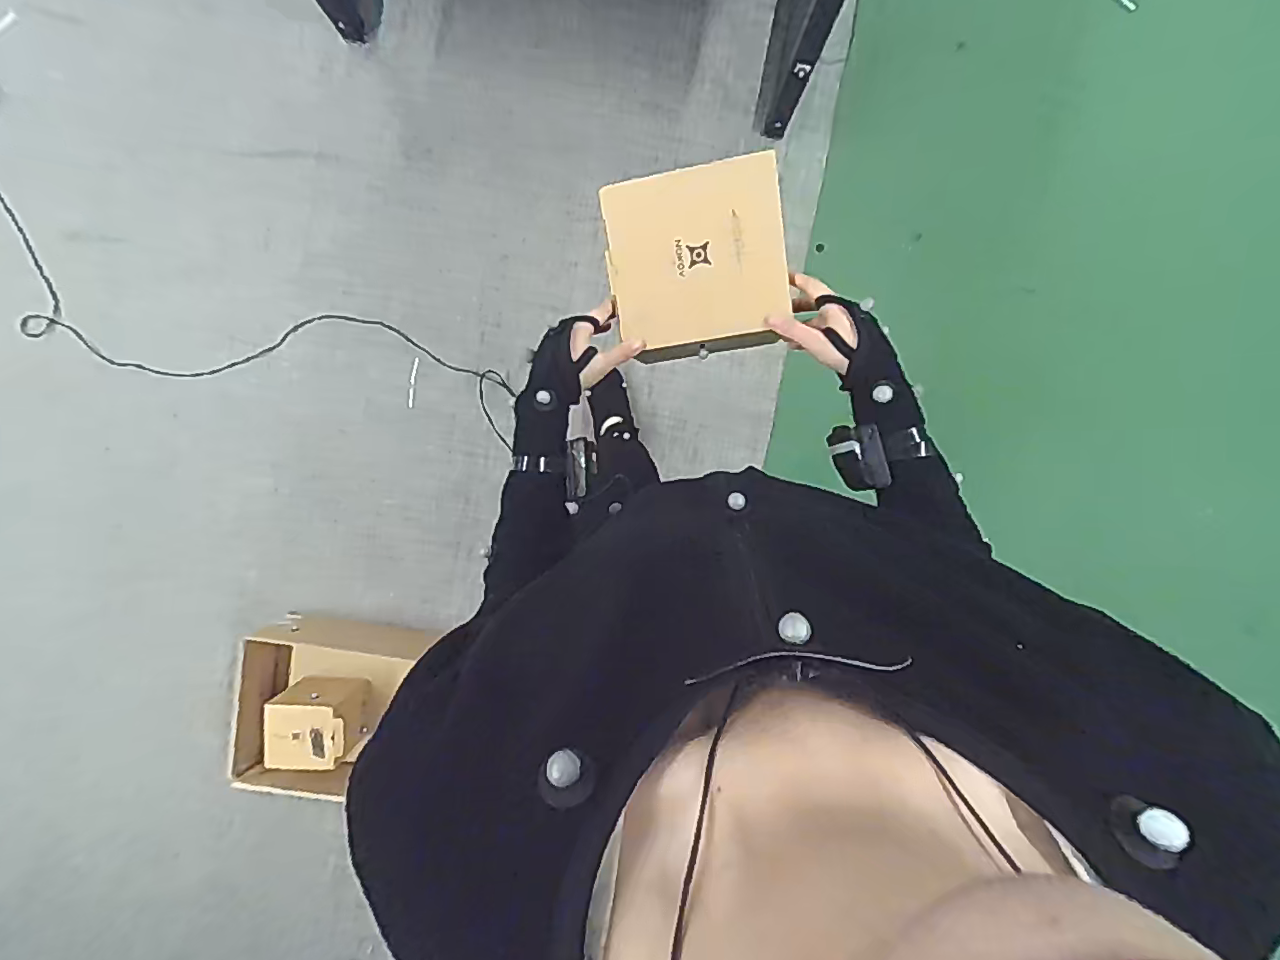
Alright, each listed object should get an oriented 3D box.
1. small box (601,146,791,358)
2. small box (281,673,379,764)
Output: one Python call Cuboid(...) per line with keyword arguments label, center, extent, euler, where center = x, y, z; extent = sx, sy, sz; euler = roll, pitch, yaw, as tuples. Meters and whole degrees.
Cuboid(label="small box", center=(0.069, -0.238, 0.614), extent=(0.179, 0.176, 0.168), euler=(-7, 97, 11))
Cuboid(label="small box", center=(-0.818, 0.630, 1.442), extent=(0.179, 0.176, 0.168), euler=(2, 93, 1))
